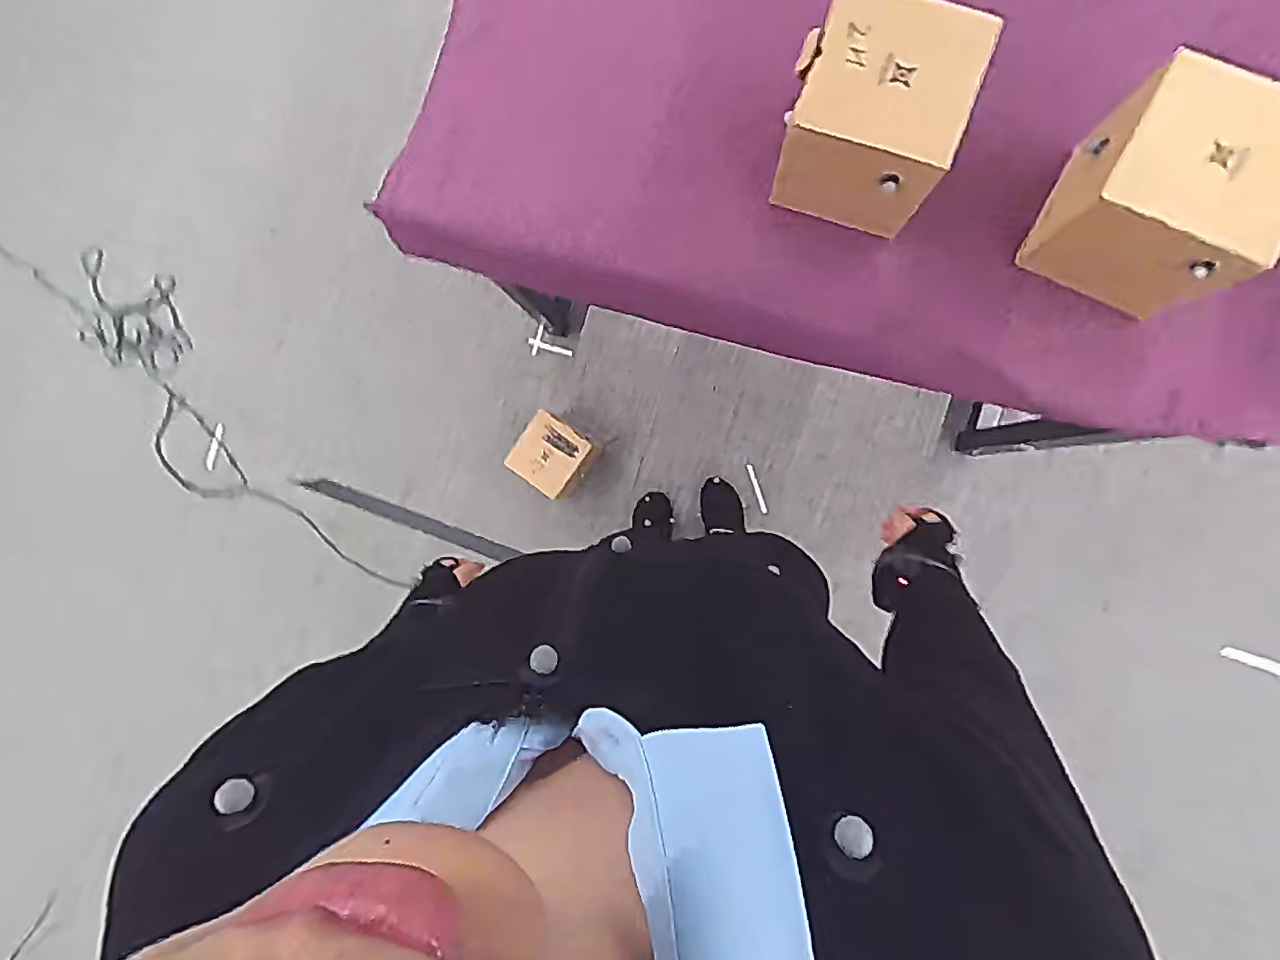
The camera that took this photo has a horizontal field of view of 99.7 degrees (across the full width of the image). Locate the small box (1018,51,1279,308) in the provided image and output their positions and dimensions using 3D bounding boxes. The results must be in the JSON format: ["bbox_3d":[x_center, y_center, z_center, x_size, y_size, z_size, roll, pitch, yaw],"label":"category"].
[{"bbox_3d":[0.587,-0.322,0.616,0.179,0.176,0.168,27,93,6],"label":"small box"}]

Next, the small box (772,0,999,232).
[{"bbox_3d":[0.277,-0.428,0.654,0.179,0.176,0.168,20,91,6],"label":"small box"}]
